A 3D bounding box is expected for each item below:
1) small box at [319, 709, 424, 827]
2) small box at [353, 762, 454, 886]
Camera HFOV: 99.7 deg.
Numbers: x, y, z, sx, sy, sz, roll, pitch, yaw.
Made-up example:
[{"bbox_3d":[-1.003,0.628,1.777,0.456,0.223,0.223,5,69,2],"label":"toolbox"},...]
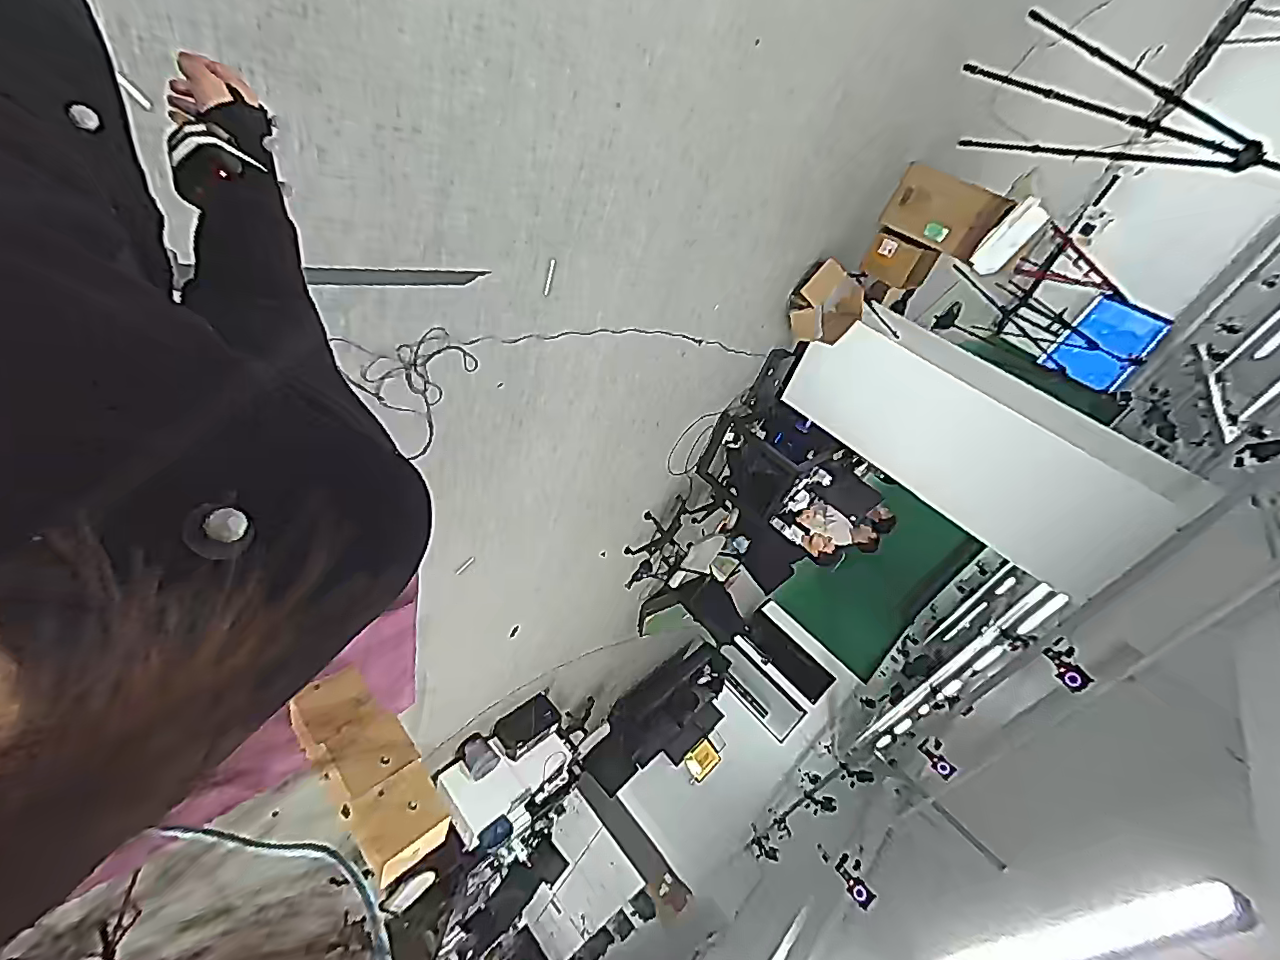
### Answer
[{"bbox_3d":[-0.690,0.729,1.387,0.179,0.176,0.168,-15,139,-49],"label":"small box"},{"bbox_3d":[-0.579,0.825,1.316,0.168,0.176,0.179,-21,145,-44],"label":"small box"}]
